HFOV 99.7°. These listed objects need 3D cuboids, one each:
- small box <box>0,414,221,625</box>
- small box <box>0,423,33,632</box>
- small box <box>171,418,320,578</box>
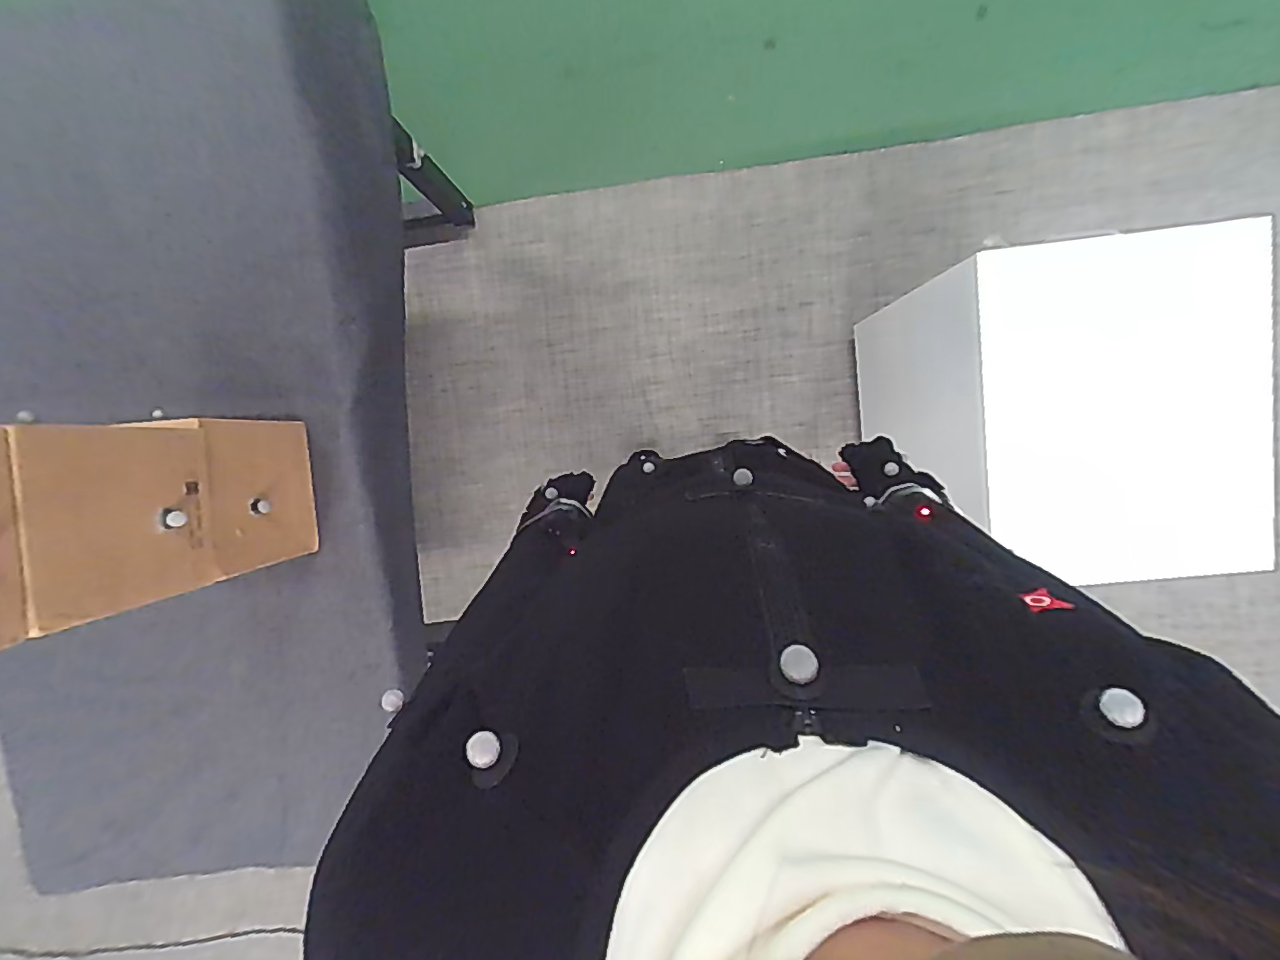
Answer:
[{"bbox_3d":[-0.546,0.029,0.505,0.179,0.176,0.168,-3,94,7],"label":"small box"},{"bbox_3d":[-0.563,0.045,0.345,0.179,0.176,0.168,-1,96,4],"label":"small box"},{"bbox_3d":[-0.527,0.015,0.668,0.168,0.176,0.179,-3,95,5],"label":"small box"}]
